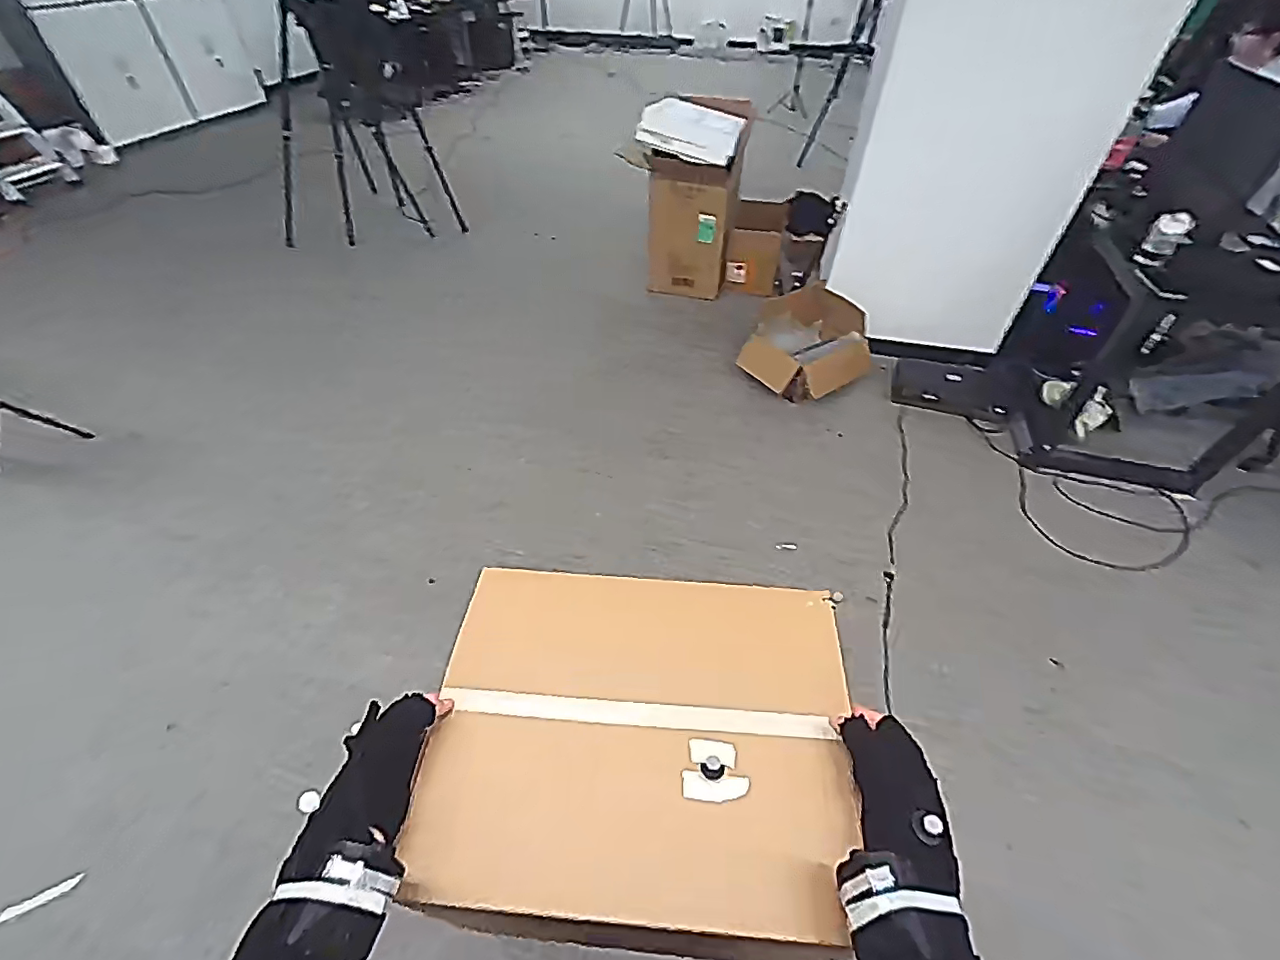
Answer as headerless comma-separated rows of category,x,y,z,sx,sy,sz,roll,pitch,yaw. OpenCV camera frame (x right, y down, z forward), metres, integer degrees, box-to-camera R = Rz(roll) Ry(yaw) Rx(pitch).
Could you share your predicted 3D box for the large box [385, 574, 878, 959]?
large box,-0.004,0.335,0.636,0.408,0.320,0.320,4,46,3
